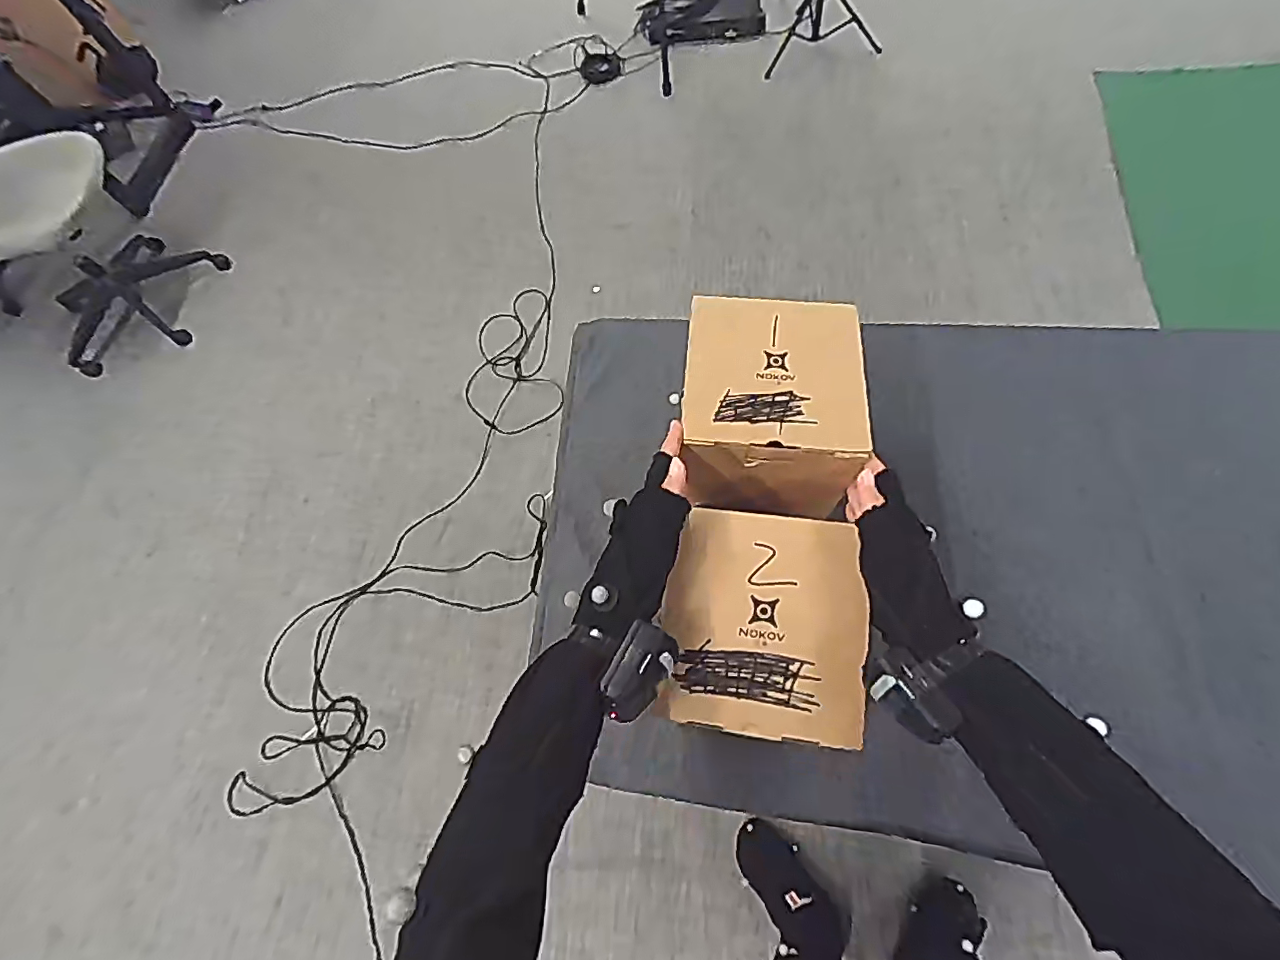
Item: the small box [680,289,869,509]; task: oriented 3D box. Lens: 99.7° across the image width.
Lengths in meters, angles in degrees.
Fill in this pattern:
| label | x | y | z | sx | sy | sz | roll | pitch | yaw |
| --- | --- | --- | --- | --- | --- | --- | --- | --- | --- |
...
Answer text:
| label | x | y | z | sx | sy | sz | roll | pitch | yaw |
| --- | --- | --- | --- | --- | --- | --- | --- | --- | --- |
| small box | 0.129 | -0.076 | 0.579 | 0.168 | 0.176 | 0.179 | 0 | 65 | 5 |
